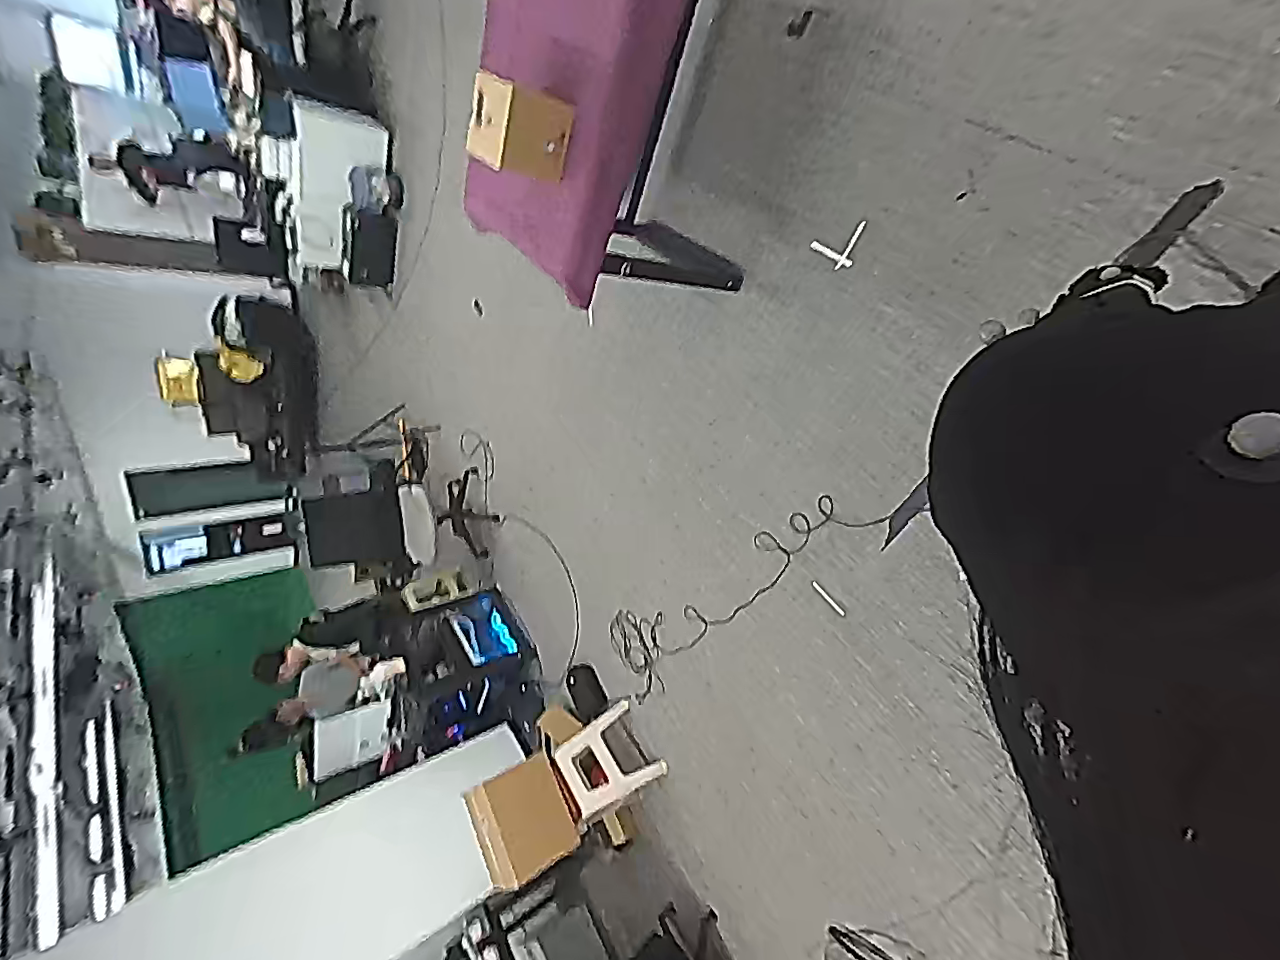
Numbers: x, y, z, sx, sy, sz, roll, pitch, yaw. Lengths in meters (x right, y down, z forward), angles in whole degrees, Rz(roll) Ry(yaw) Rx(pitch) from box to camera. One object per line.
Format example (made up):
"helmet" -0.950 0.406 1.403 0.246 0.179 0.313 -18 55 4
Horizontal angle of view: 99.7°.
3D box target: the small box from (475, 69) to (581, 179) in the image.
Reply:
"small box" -0.269 -0.839 1.285 0.179 0.176 0.168 45 130 33
